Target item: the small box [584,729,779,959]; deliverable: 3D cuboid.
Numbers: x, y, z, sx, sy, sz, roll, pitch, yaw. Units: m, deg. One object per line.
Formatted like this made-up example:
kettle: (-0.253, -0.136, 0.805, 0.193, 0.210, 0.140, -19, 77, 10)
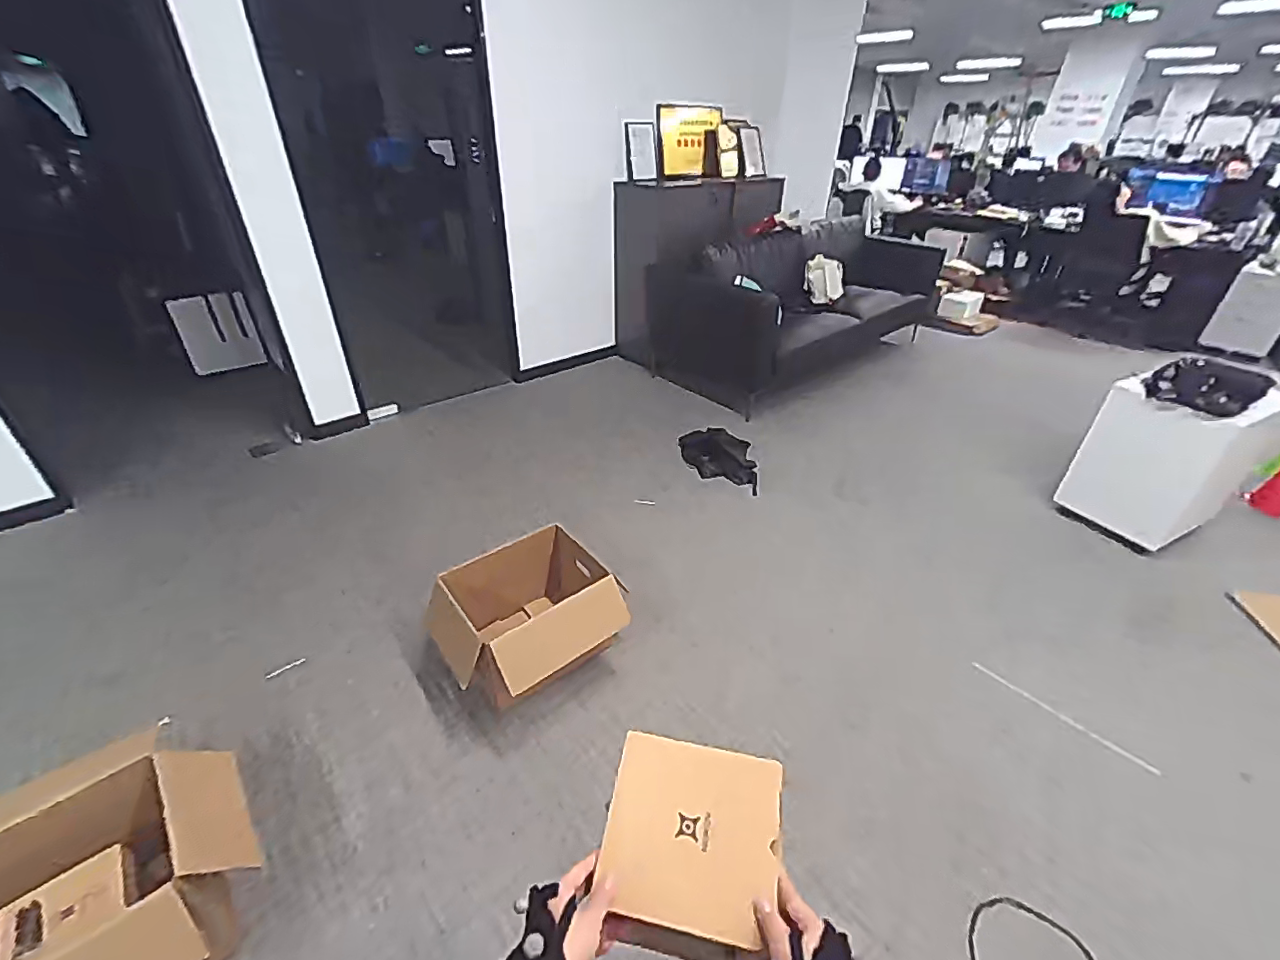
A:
small box: (0.052, 0.405, 0.595, 0.179, 0.176, 0.168, 7, 43, 10)
